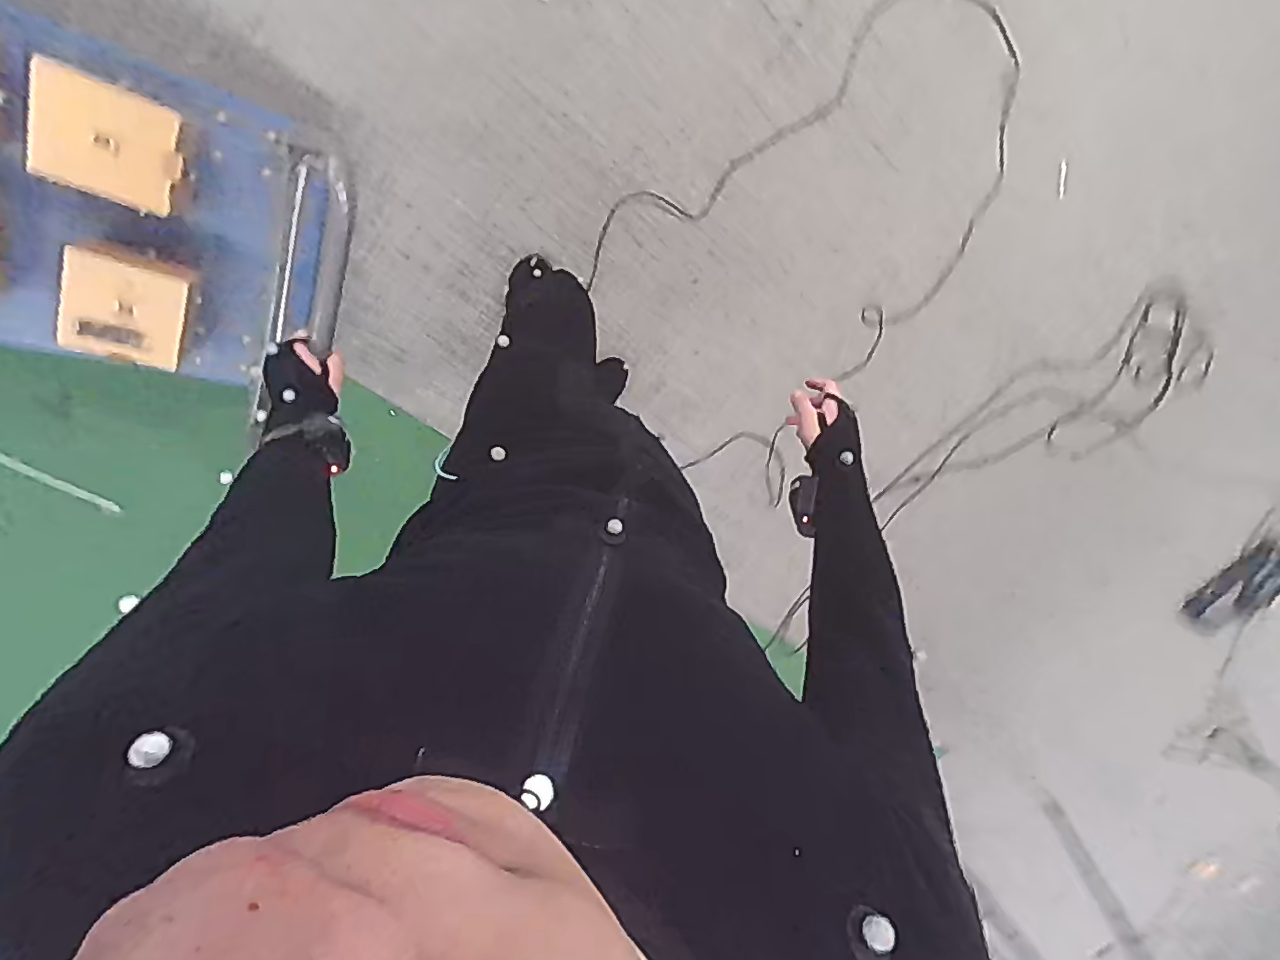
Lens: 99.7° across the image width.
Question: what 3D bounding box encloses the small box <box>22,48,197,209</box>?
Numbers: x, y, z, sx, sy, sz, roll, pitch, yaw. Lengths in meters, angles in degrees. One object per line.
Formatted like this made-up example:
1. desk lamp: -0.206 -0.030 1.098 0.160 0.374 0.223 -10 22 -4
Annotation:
1. small box: -0.896 -0.588 0.928 0.179 0.176 0.168 11 111 -35

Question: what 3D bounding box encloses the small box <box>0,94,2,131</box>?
1. small box: -1.098 -0.626 0.787 0.179 0.176 0.168 7 113 -34
